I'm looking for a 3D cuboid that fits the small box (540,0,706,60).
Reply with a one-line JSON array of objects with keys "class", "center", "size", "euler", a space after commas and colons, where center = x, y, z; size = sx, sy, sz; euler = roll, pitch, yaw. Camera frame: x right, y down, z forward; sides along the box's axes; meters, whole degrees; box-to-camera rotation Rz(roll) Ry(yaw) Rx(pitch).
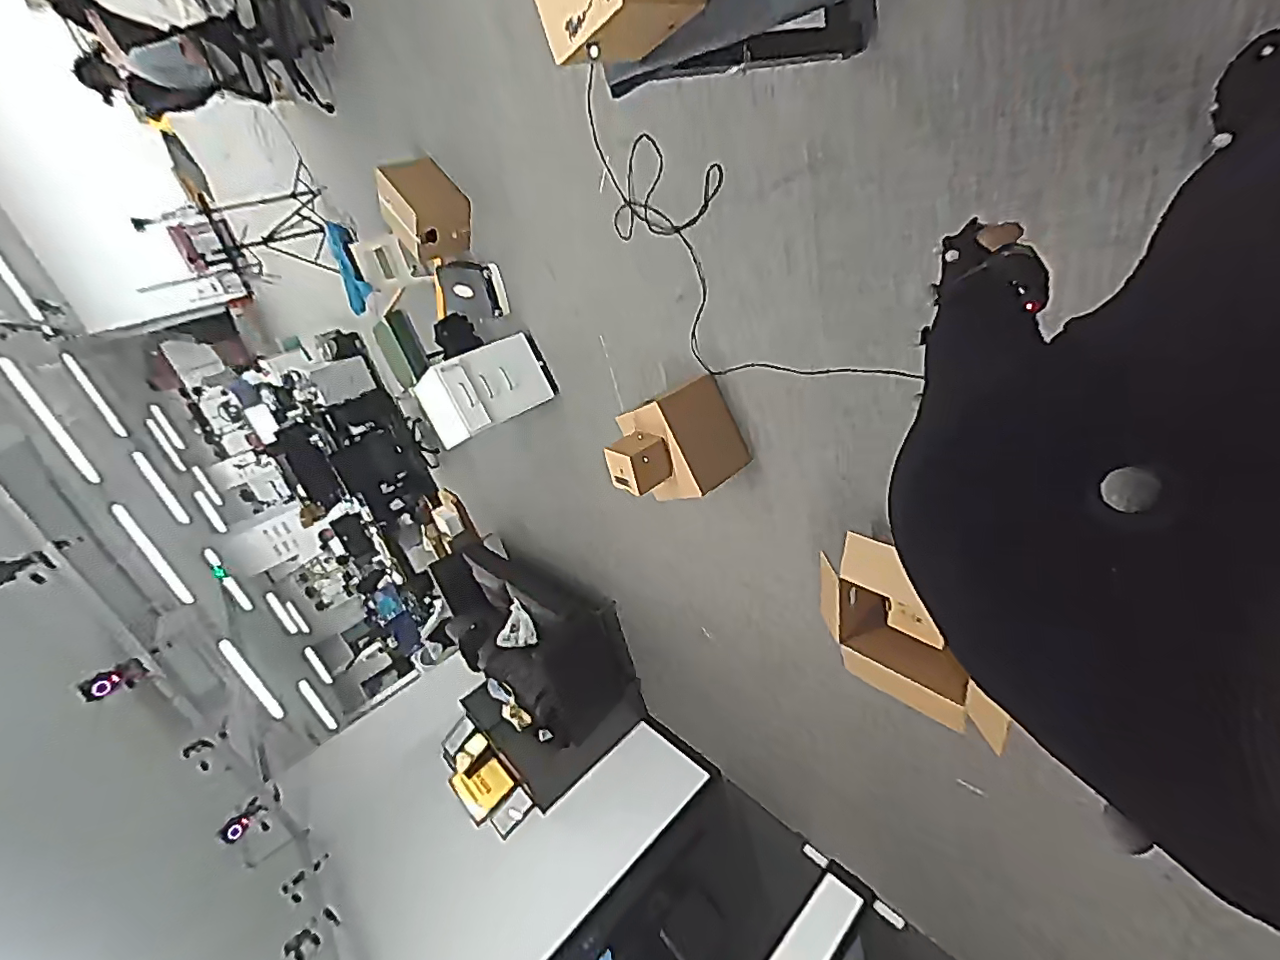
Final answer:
[{"class": "small box", "center": [-0.034, -0.723, 0.751], "size": [0.168, 0.176, 0.179], "euler": [10, 125, 51]}]
